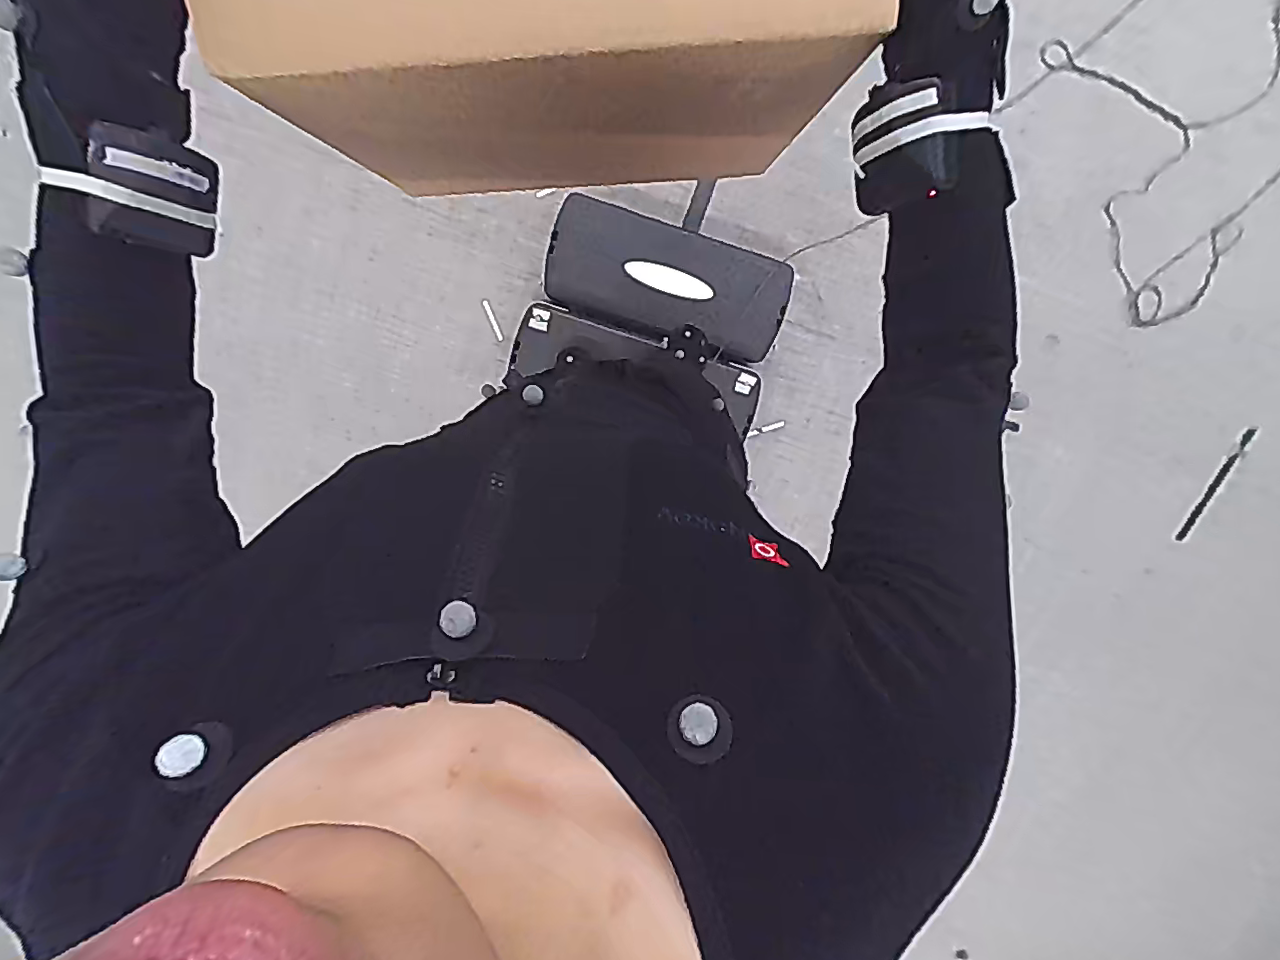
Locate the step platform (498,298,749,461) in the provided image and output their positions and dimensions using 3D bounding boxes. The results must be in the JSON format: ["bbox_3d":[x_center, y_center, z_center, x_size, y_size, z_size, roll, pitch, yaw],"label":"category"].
[{"bbox_3d":[-0.043,-0.279,1.525,0.684,0.204,0.286,16,104,-4],"label":"step platform"}]

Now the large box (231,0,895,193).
[{"bbox_3d":[-0.059,-0.447,0.433,0.408,0.320,0.320,-4,106,-1],"label":"large box"}]
